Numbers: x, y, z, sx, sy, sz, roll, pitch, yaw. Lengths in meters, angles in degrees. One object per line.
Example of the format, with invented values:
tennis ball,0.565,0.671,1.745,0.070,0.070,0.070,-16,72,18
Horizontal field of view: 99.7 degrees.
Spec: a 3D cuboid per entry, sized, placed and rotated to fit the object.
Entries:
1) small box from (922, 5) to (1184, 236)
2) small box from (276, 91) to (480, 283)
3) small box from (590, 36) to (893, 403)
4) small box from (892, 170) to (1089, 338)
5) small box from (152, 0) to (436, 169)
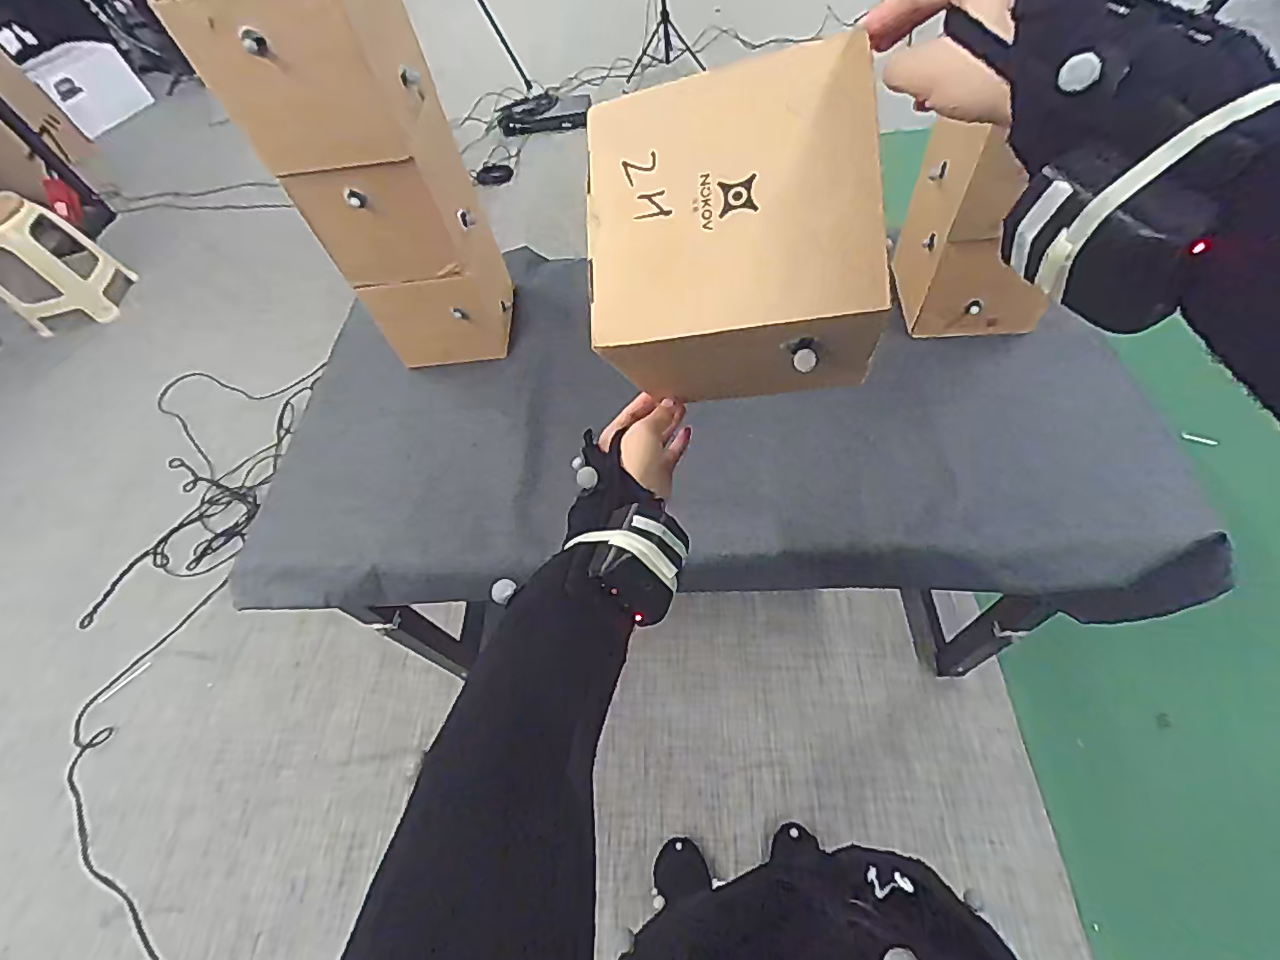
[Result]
small box,0.455,-0.408,0.635,0.168,0.176,0.179,0,60,8
small box,-0.340,-0.392,0.740,0.179,0.176,0.168,-5,59,3
small box,0.074,-0.158,0.396,0.179,0.176,0.168,-3,84,17
small box,0.479,-0.327,0.775,0.168,0.176,0.179,0,59,8
small box,-0.355,-0.469,0.596,0.179,0.176,0.168,-3,59,4
